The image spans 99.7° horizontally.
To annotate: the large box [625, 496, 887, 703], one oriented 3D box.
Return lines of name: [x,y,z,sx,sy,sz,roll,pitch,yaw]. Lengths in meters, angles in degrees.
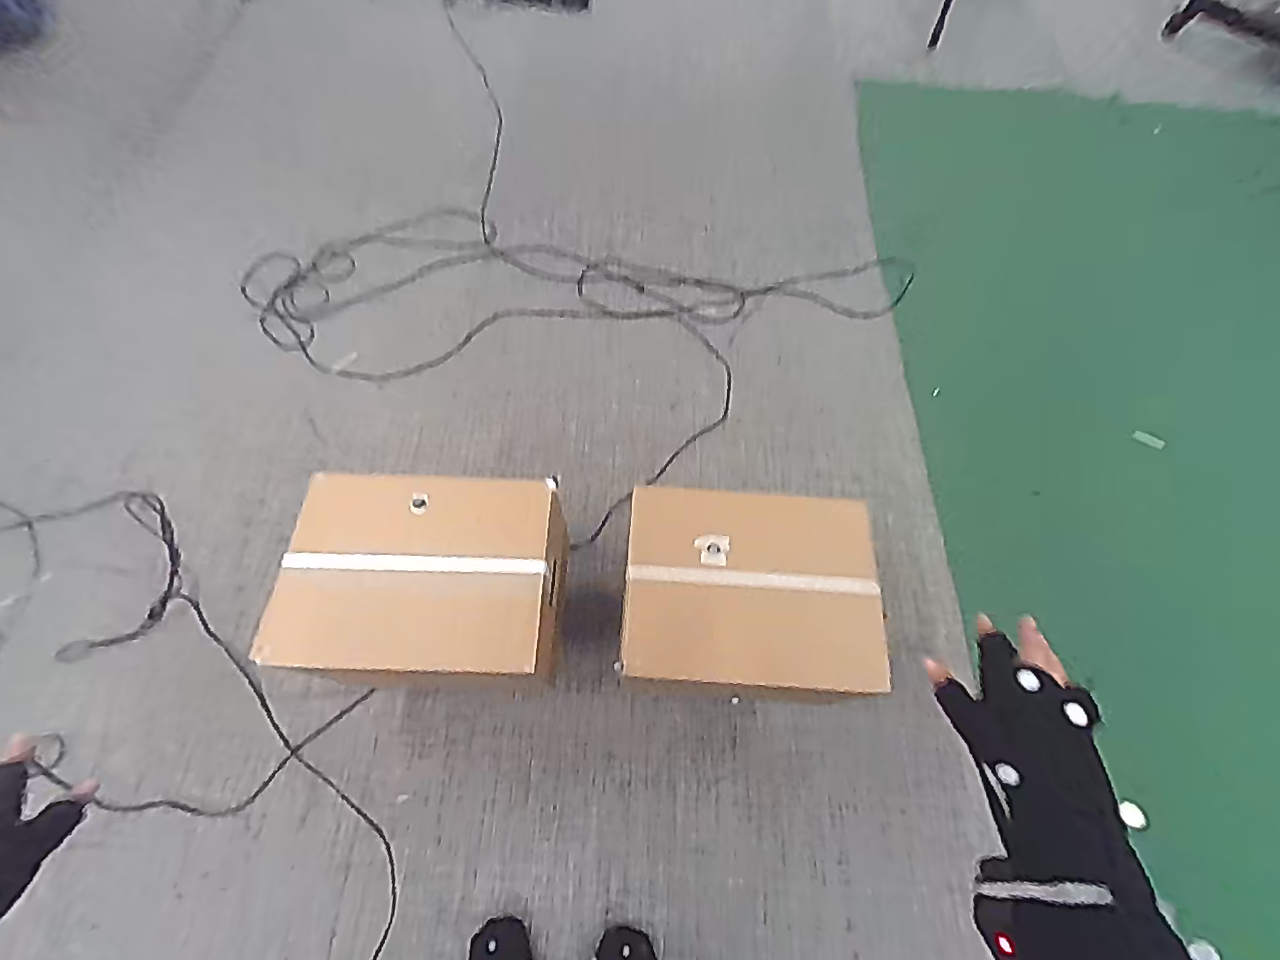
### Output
large box: [0.184,0.240,1.016,0.408,0.320,0.320,4,64,0]
